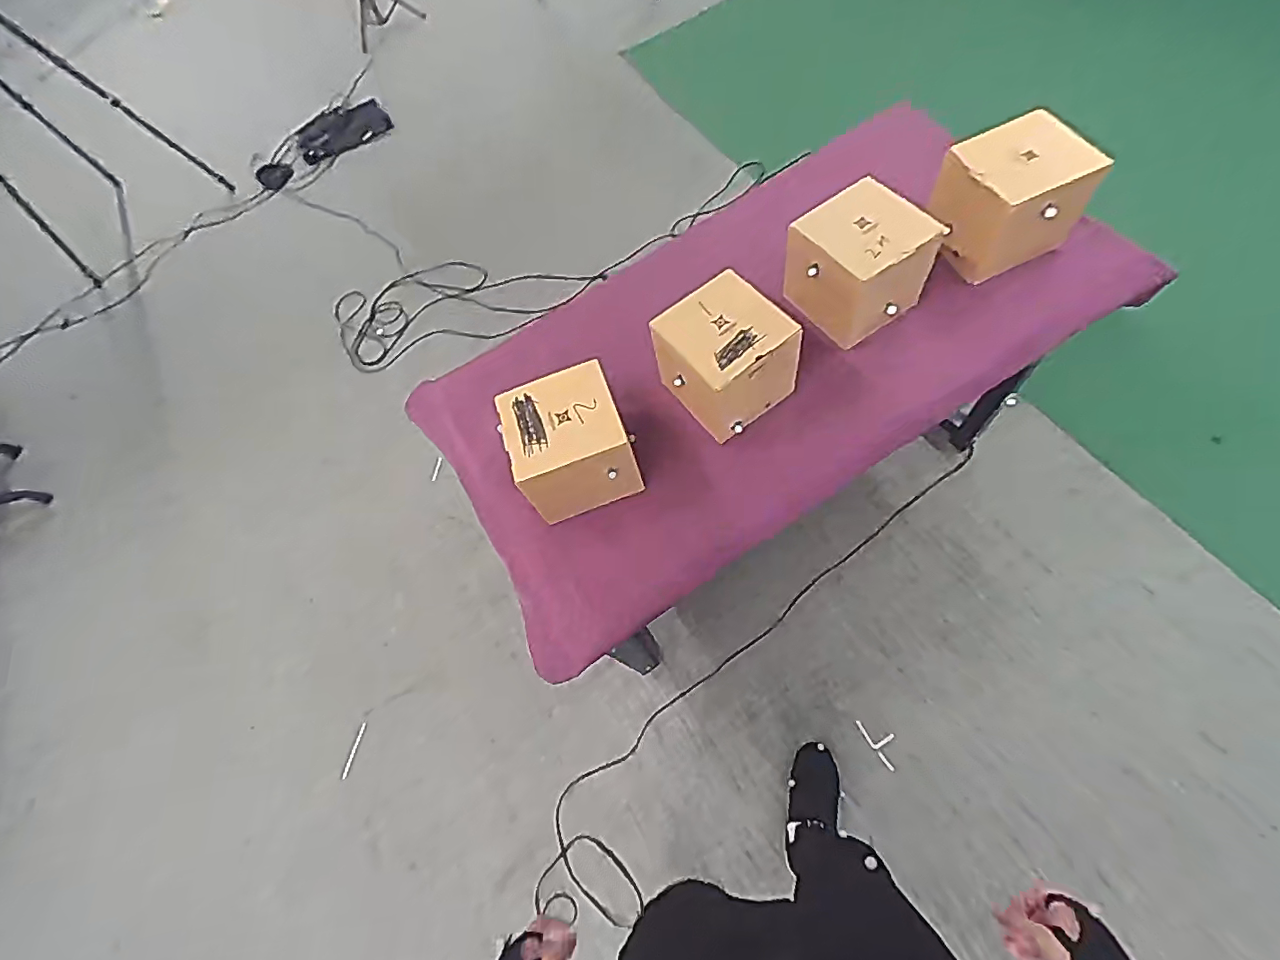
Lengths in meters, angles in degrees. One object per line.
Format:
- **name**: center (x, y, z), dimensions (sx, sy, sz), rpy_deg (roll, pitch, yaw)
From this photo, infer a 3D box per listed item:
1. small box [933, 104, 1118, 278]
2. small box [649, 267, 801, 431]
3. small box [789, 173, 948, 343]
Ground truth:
- **small box**: center (0.634, -0.486, 0.926), dimensions (0.179, 0.176, 0.168), rpy_deg (-24, 64, 1)
- **small box**: center (0.141, -0.203, 0.892), dimensions (0.168, 0.176, 0.179), rpy_deg (-35, 64, -6)
- **small box**: center (0.372, -0.372, 0.924), dimensions (0.168, 0.176, 0.179), rpy_deg (-33, 64, -4)
